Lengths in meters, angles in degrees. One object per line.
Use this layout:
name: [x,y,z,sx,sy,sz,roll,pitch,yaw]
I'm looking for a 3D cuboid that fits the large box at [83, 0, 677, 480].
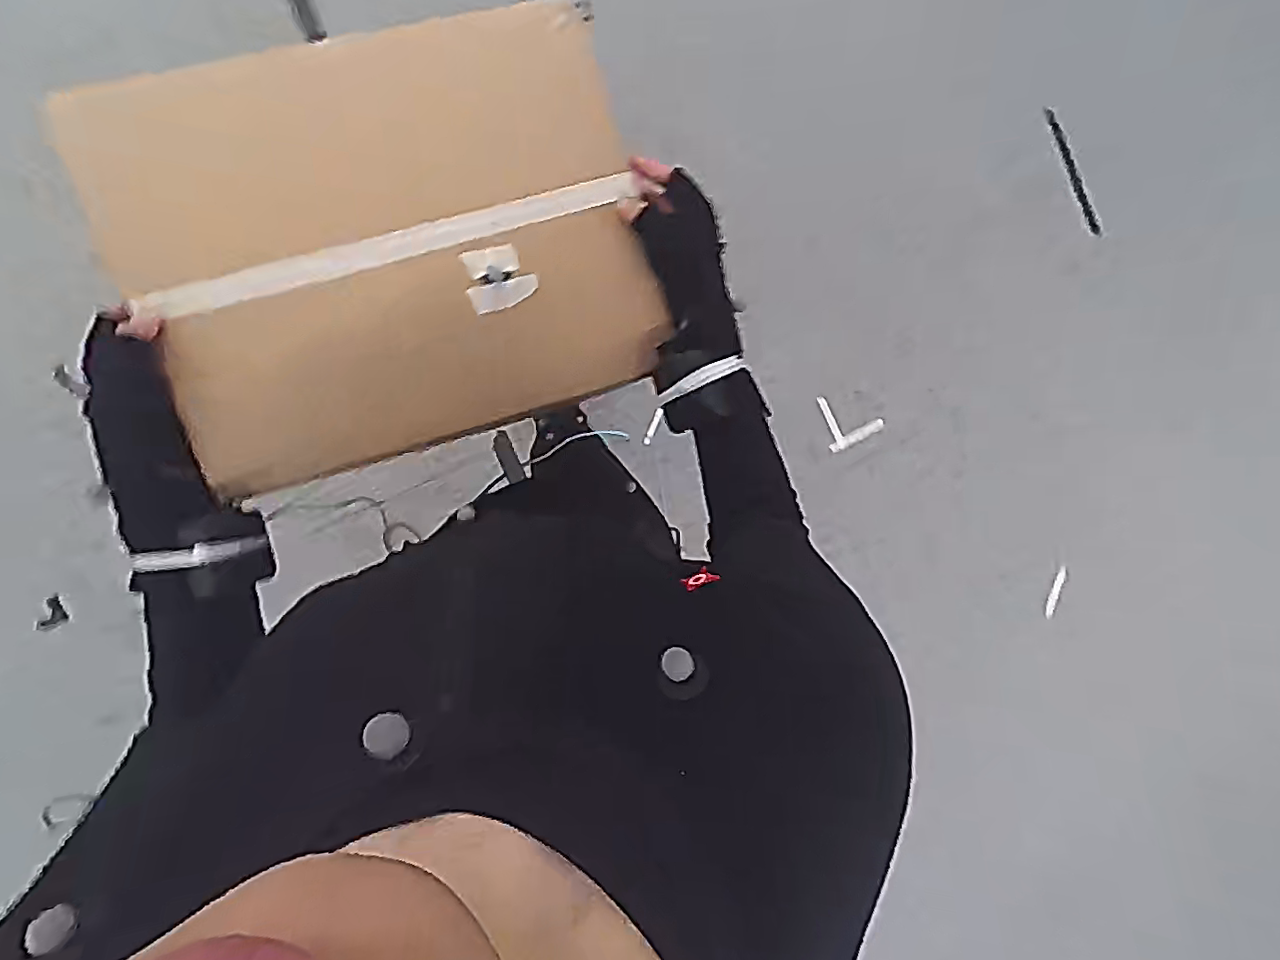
large box: [-0.222,-0.219,0.601,0.408,0.320,0.320,-19,100,-9]
